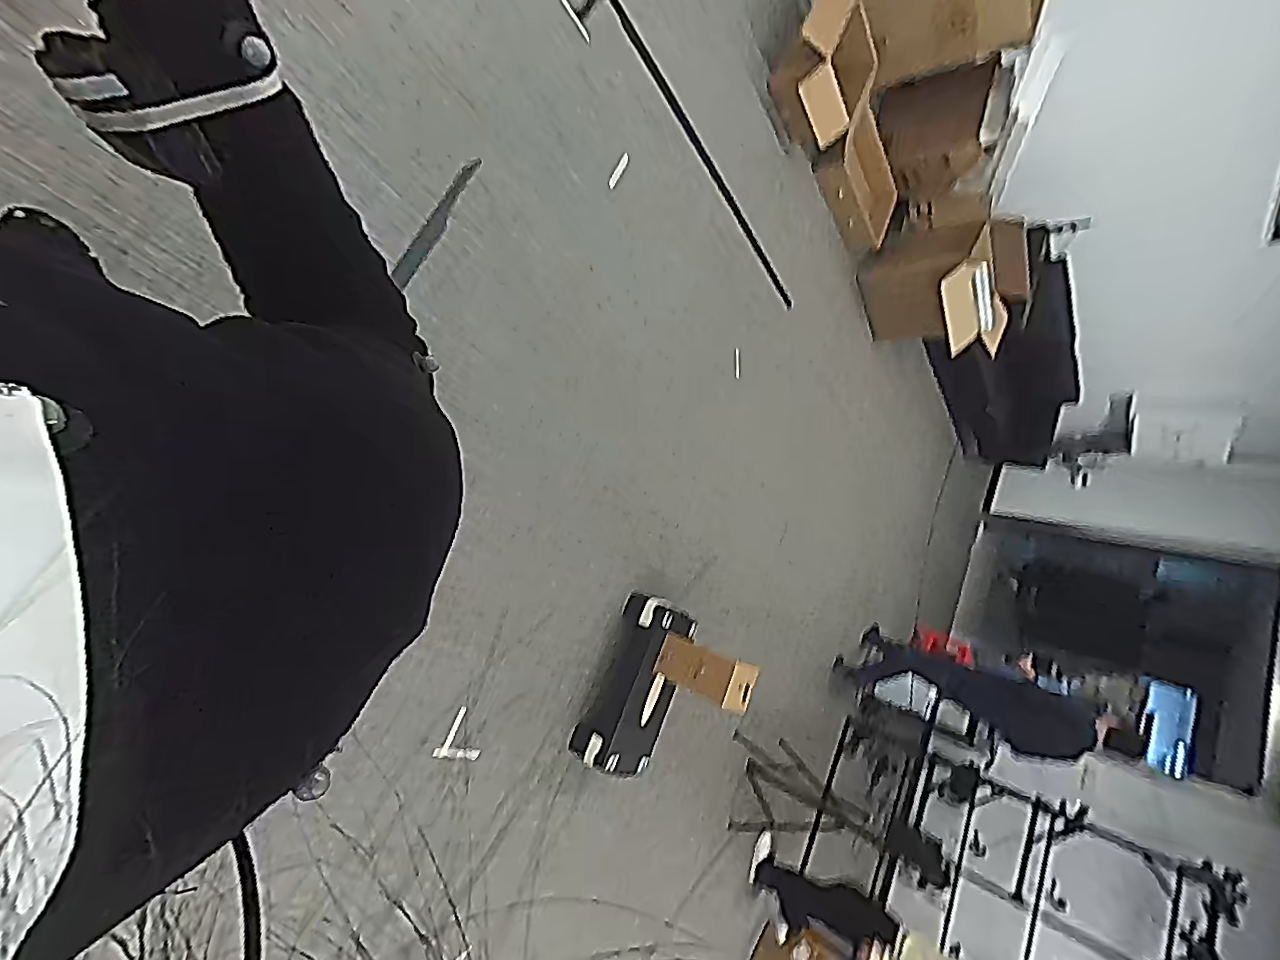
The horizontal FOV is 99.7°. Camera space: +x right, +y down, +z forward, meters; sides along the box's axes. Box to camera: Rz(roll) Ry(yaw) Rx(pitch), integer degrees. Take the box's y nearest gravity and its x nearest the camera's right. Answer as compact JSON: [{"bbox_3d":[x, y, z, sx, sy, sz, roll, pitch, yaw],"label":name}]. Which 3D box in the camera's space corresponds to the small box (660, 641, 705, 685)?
[{"bbox_3d":[0.188,0.711,2.146,0.179,0.176,0.168,35,72,-44],"label":"small box"}]

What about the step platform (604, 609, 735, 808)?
[{"bbox_3d":[0.123,0.842,2.051,0.286,0.204,0.684,36,72,-44],"label":"step platform"}]

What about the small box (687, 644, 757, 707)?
[{"bbox_3d":[0.309,0.733,2.037,0.179,0.176,0.168,34,73,-44],"label":"small box"}]
